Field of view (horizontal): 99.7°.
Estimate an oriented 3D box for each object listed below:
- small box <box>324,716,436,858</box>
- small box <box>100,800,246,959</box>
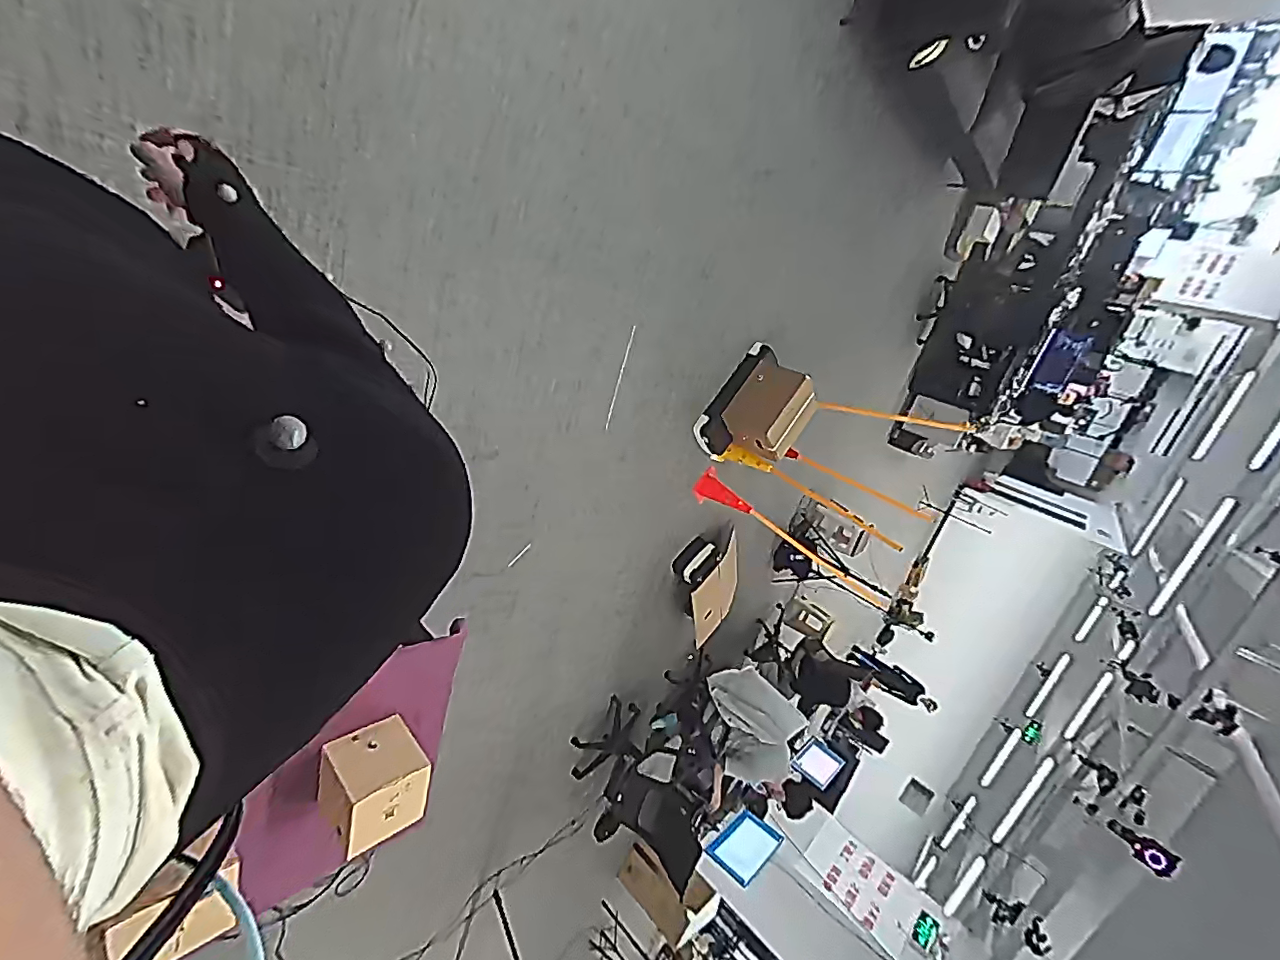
[{"bbox_3d":[-0.578,0.667,1.194,0.168,0.176,0.179,-9,121,-48],"label":"small box"},{"bbox_3d":[-0.807,0.697,0.935,0.168,0.176,0.179,-7,121,-49],"label":"small box"}]
